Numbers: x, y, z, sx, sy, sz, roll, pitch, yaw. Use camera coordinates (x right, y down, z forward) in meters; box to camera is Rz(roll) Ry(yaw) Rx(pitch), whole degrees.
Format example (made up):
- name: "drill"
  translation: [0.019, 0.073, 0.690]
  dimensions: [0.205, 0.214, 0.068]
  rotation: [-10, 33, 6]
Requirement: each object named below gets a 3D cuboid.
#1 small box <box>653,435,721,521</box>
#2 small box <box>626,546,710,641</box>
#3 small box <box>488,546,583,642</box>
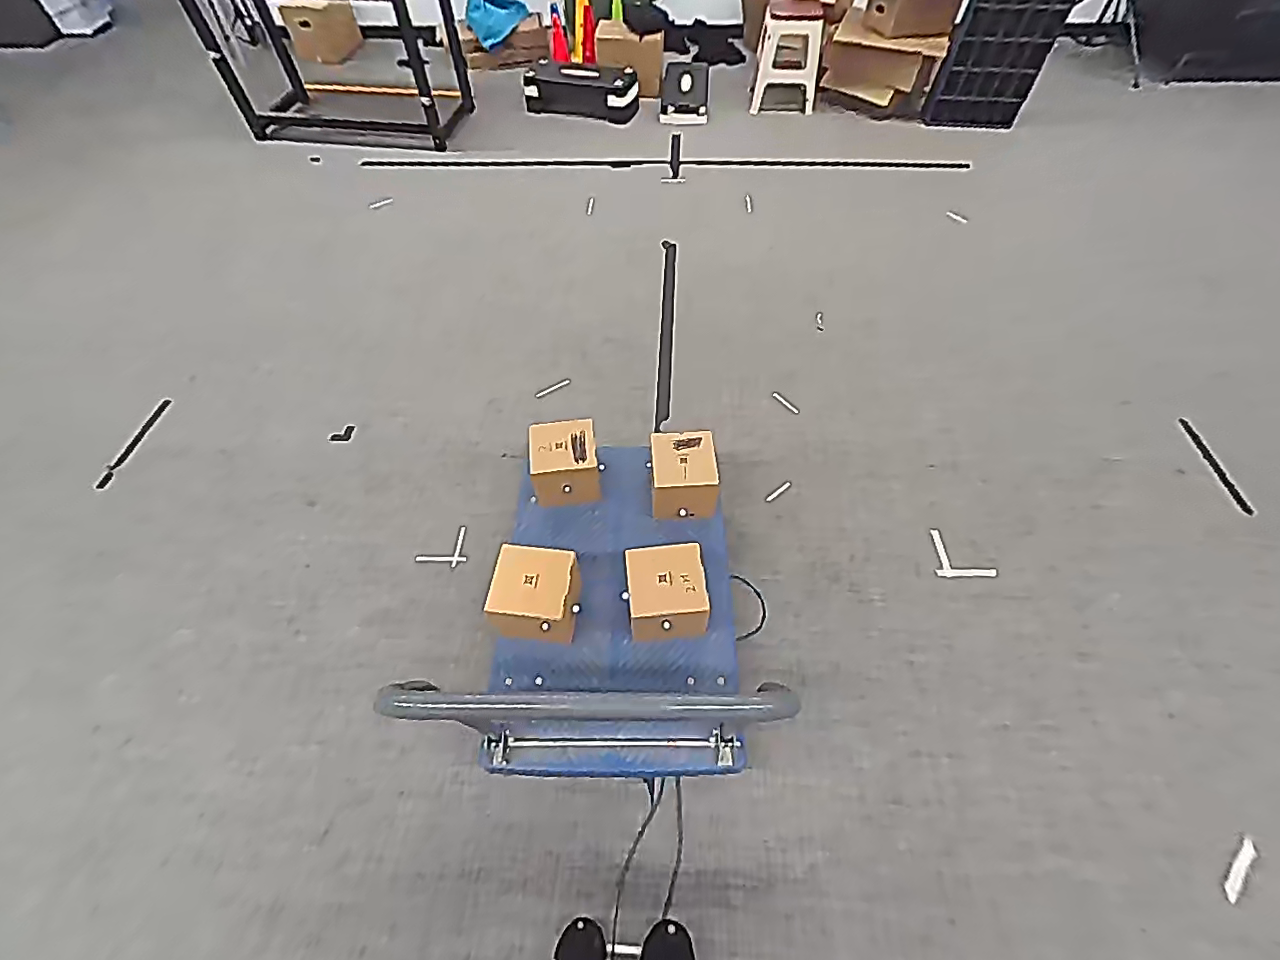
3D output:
- name: "small box"
  translation: [0.121, -0.004, 1.474]
  dimensions: [0.168, 0.176, 0.179]
  rotation: [-3, 57, -1]
- name: "small box"
  translation: [0.064, 0.274, 1.285]
  dimensions: [0.179, 0.176, 0.168]
  rotation: [-4, 56, -2]
- name: "small box"
  translation: [-0.240, 0.275, 1.290]
  dimensions: [0.179, 0.176, 0.168]
  rotation: [6, 55, 3]
